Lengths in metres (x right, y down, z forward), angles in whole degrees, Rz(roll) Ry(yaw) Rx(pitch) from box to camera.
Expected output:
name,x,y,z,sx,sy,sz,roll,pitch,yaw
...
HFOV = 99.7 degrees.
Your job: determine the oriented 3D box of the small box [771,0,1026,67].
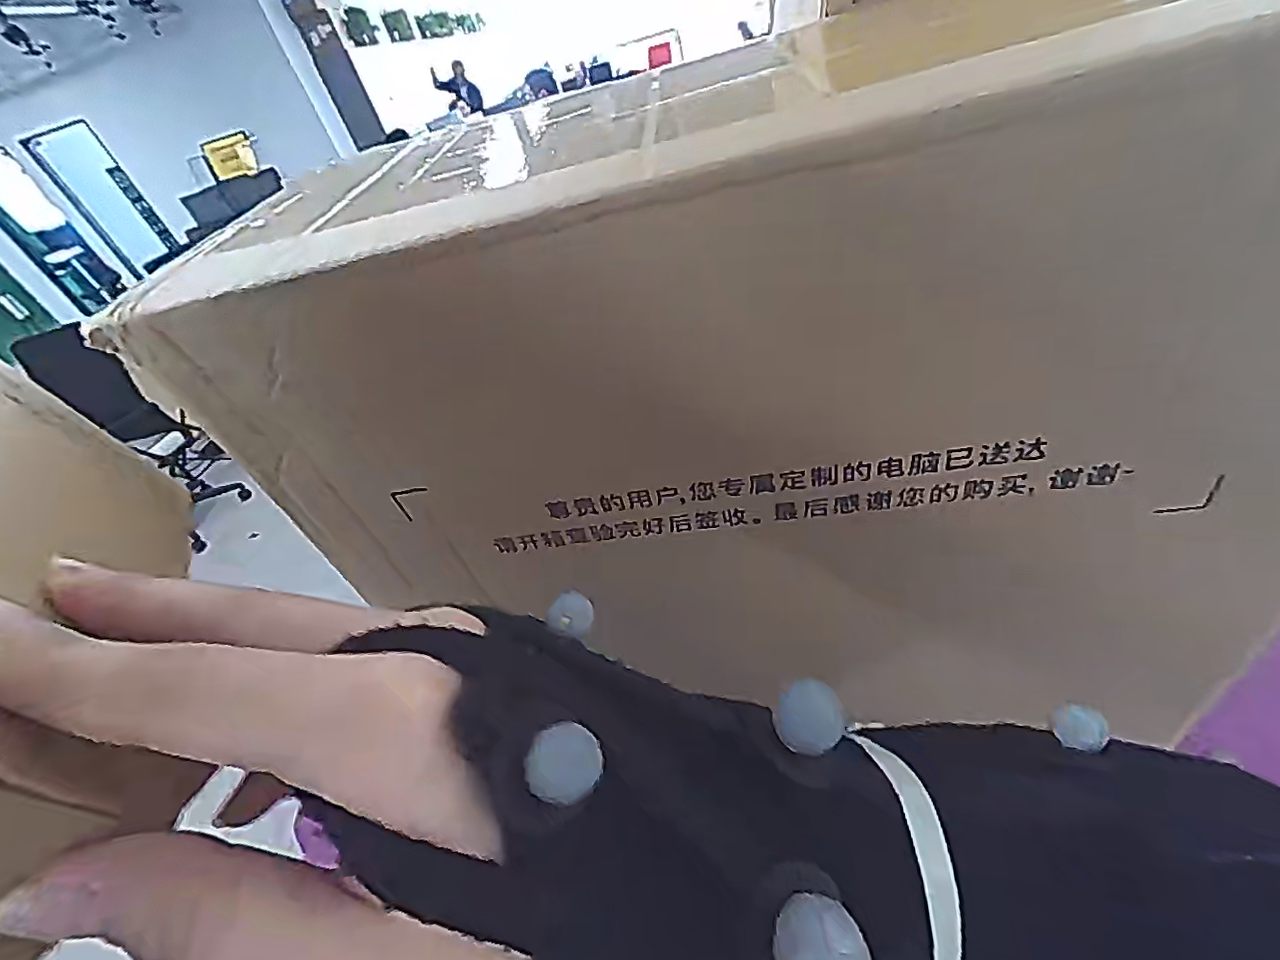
name,x,y,z,sx,sy,sz,roll,pitch,yaw
small box,0.170,-0.371,0.314,0.179,0.176,0.168,-13,39,9
